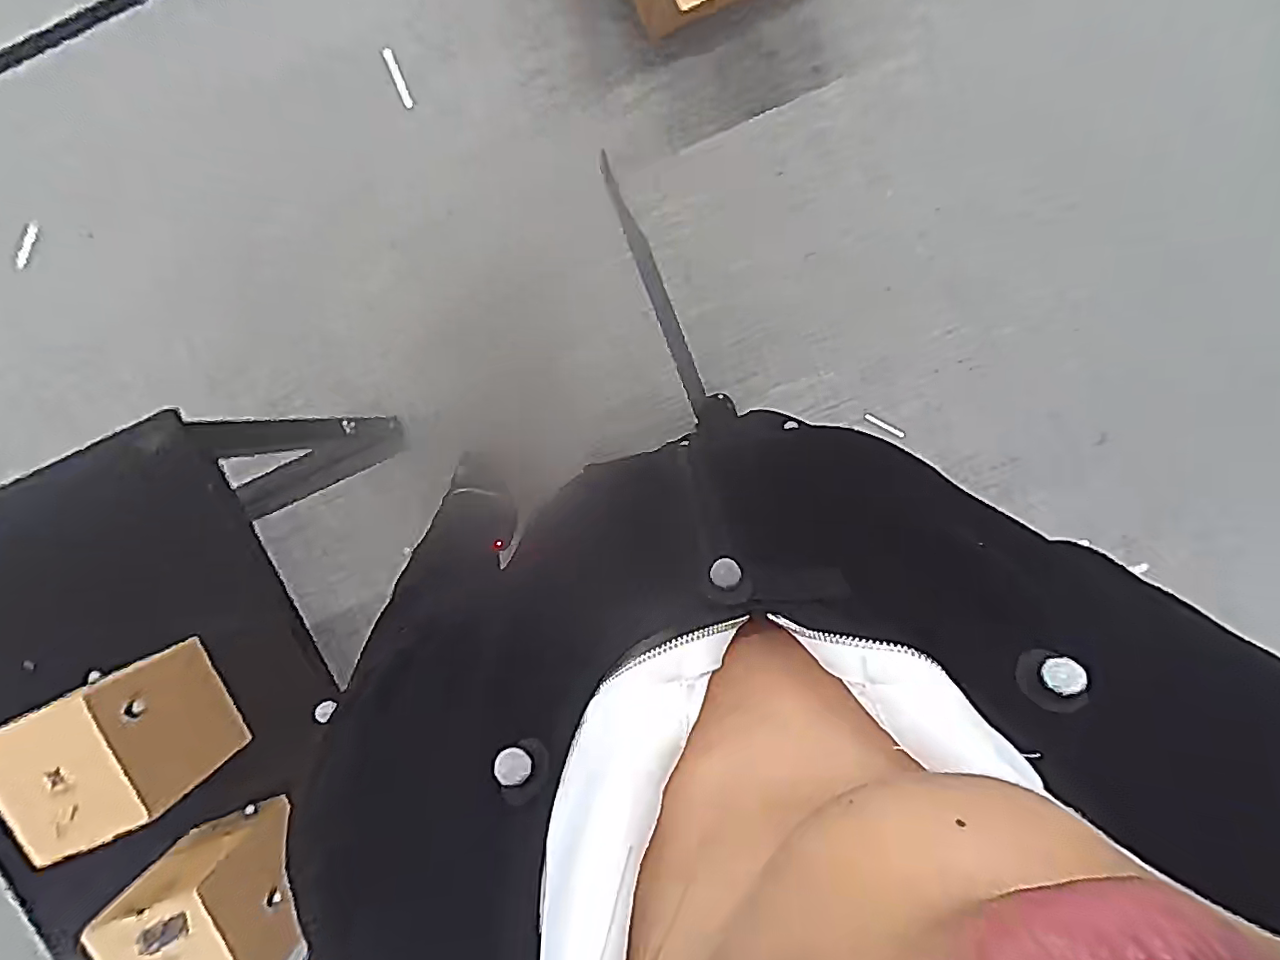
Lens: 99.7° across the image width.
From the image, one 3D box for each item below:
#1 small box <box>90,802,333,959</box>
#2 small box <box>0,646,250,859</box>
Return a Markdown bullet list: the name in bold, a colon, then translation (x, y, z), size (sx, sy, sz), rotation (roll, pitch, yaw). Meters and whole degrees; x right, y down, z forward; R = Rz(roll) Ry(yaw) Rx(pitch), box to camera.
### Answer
- **small box**: translation (-0.581, 0.593, 0.760), size (0.168, 0.176, 0.179), rotation (-23, 97, 4)
- **small box**: translation (-0.689, 0.348, 0.730), size (0.168, 0.176, 0.179), rotation (-24, 96, 5)
